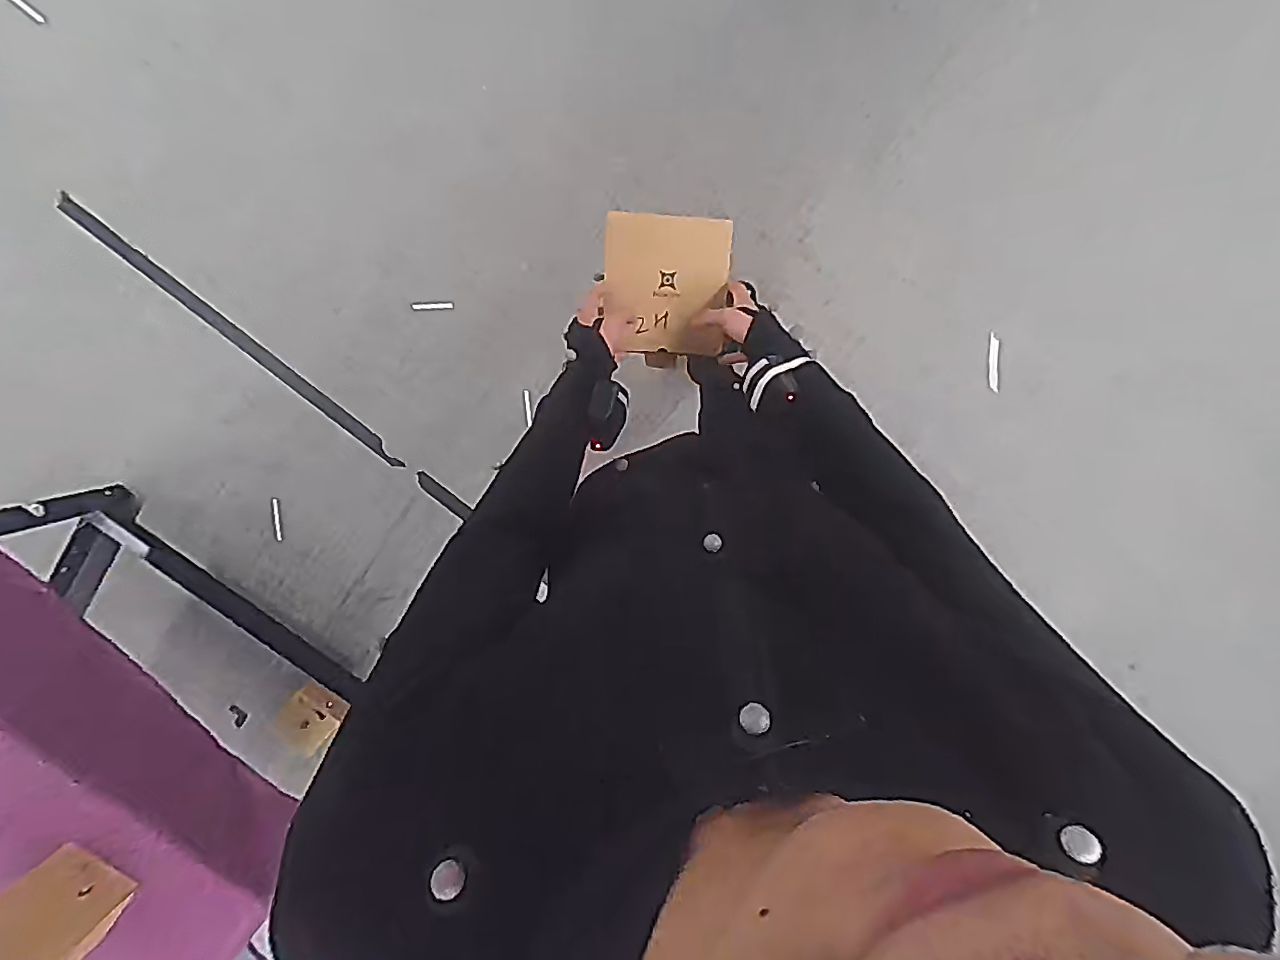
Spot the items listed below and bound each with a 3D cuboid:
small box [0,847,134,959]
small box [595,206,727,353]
[{"bbox_3d":[-1.154,0.874,1.048,0.168,0.176,0.179,37,101,-4],"label":"small box"},{"bbox_3d":[0.021,-0.281,0.788,0.168,0.176,0.179,1,106,-5],"label":"small box"}]
